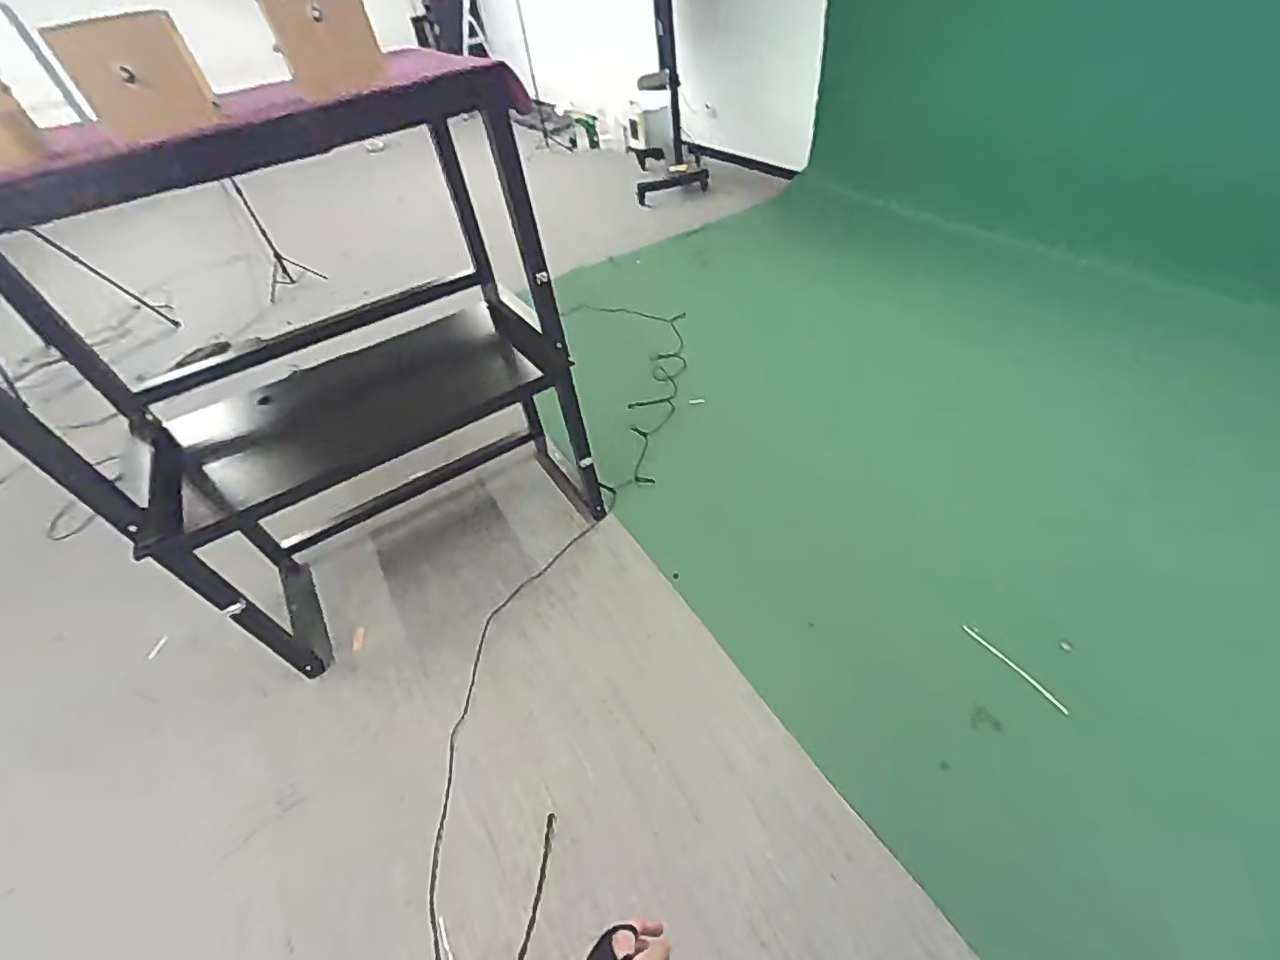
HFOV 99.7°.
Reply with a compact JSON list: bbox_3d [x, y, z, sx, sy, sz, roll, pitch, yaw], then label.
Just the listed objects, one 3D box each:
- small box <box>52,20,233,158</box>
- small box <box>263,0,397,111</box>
[{"bbox_3d":[-0.893,-0.720,0.995,0.179,0.176,0.168,-26,46,-14],"label":"small box"},{"bbox_3d":[-0.628,-0.875,1.103,0.179,0.176,0.168,-26,47,-15],"label":"small box"}]
